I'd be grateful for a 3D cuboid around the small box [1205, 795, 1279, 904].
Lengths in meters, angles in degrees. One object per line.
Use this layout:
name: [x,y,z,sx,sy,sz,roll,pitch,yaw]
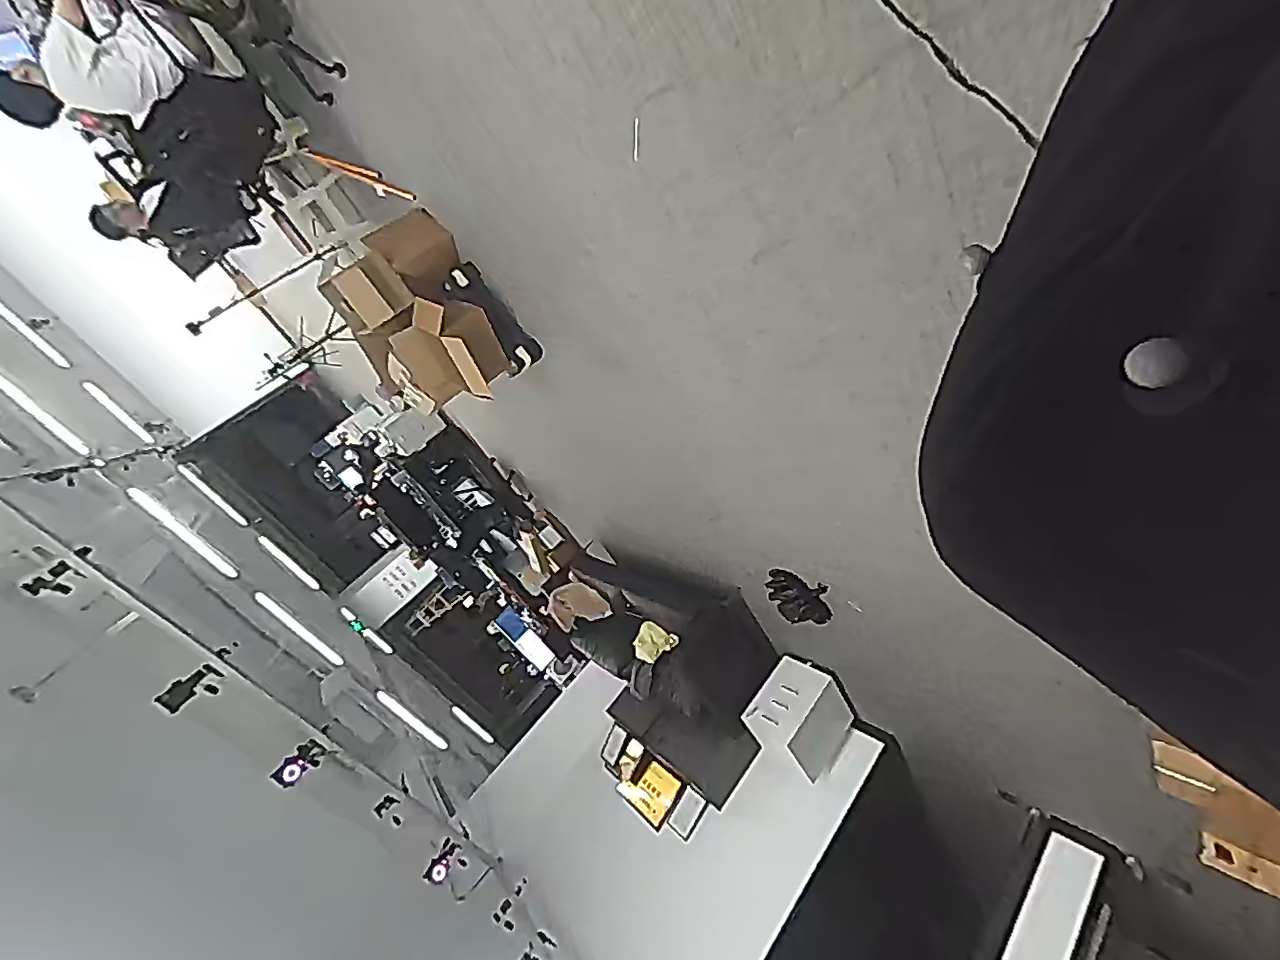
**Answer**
small box: [1.684,0.996,1.464,0.179,0.176,0.168,15,139,50]
